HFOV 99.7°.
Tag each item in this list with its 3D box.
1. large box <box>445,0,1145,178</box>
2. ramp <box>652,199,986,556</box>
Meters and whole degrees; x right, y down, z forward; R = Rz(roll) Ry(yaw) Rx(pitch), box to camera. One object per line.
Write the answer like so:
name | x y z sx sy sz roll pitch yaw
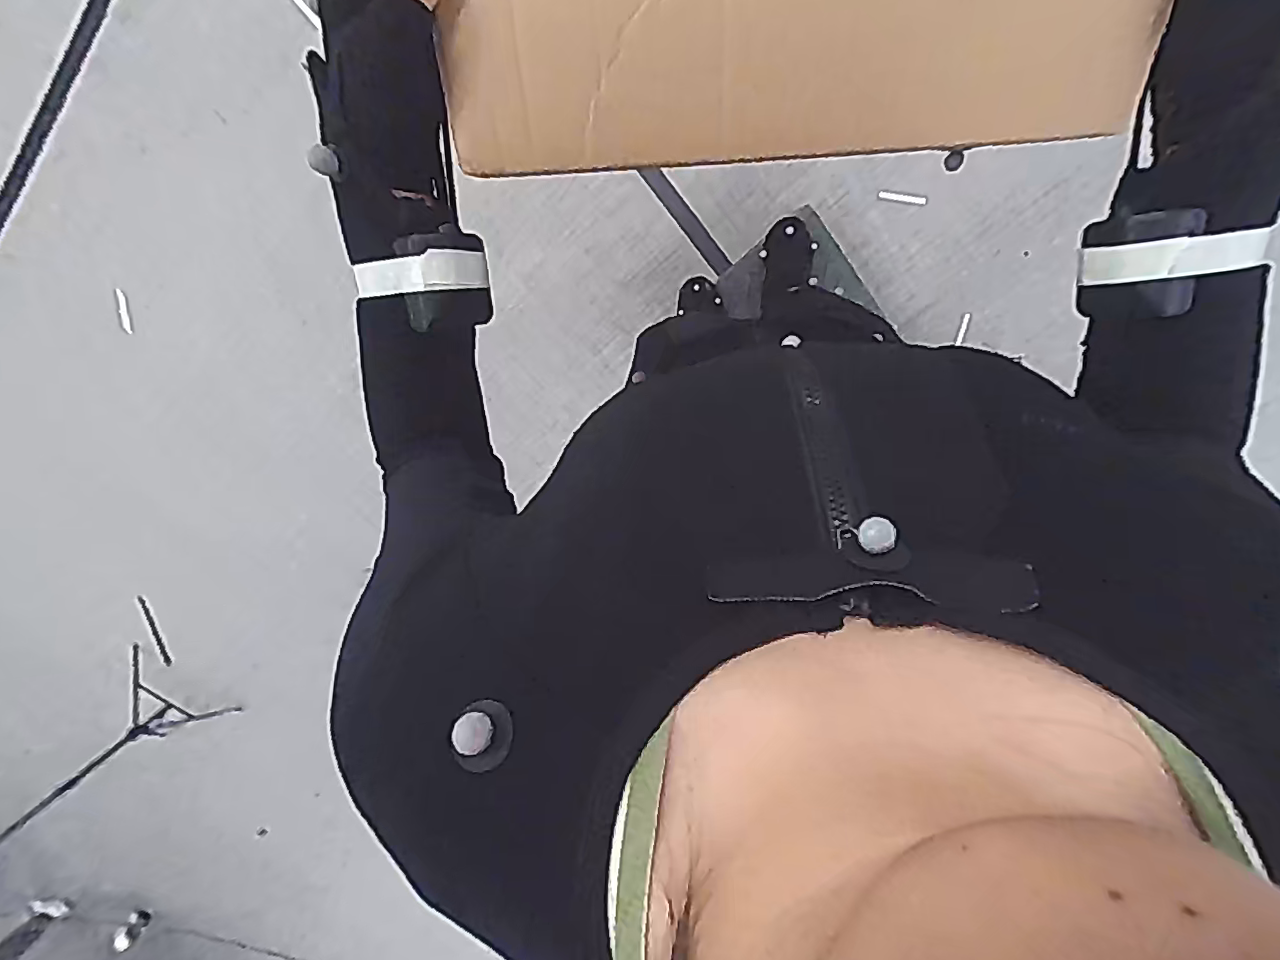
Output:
large box | 0.087 -0.418 0.390 0.408 0.320 0.320 -1 122 3
ramp | 0.539 -0.205 1.522 0.509 0.206 0.991 -40 103 19
